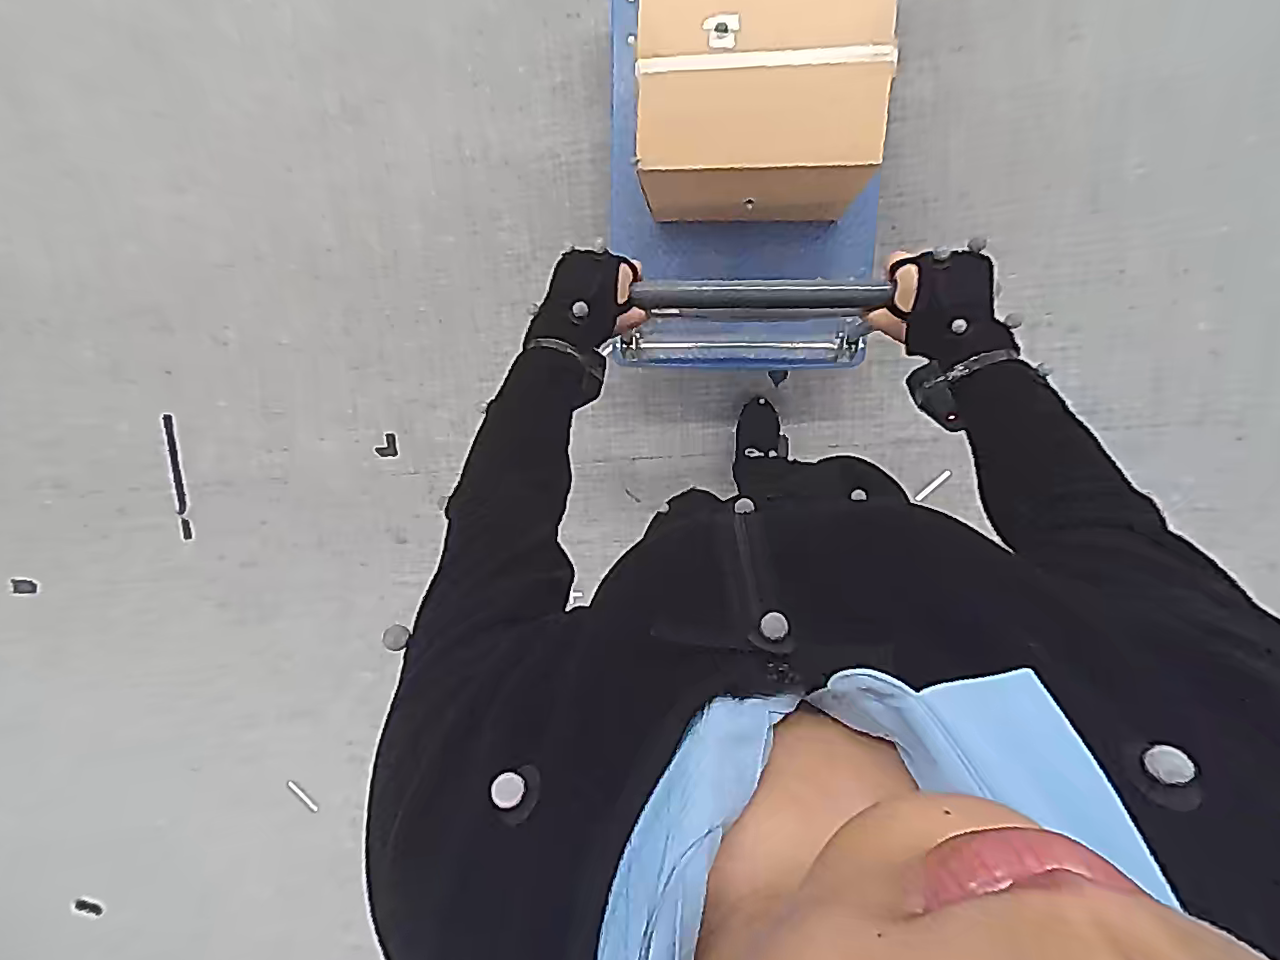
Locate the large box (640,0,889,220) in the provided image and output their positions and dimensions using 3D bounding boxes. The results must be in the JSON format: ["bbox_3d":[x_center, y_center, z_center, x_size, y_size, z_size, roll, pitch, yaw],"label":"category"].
[{"bbox_3d":[0.221,-0.710,1.038,0.408,0.320,0.320,2,99,8],"label":"large box"}]
